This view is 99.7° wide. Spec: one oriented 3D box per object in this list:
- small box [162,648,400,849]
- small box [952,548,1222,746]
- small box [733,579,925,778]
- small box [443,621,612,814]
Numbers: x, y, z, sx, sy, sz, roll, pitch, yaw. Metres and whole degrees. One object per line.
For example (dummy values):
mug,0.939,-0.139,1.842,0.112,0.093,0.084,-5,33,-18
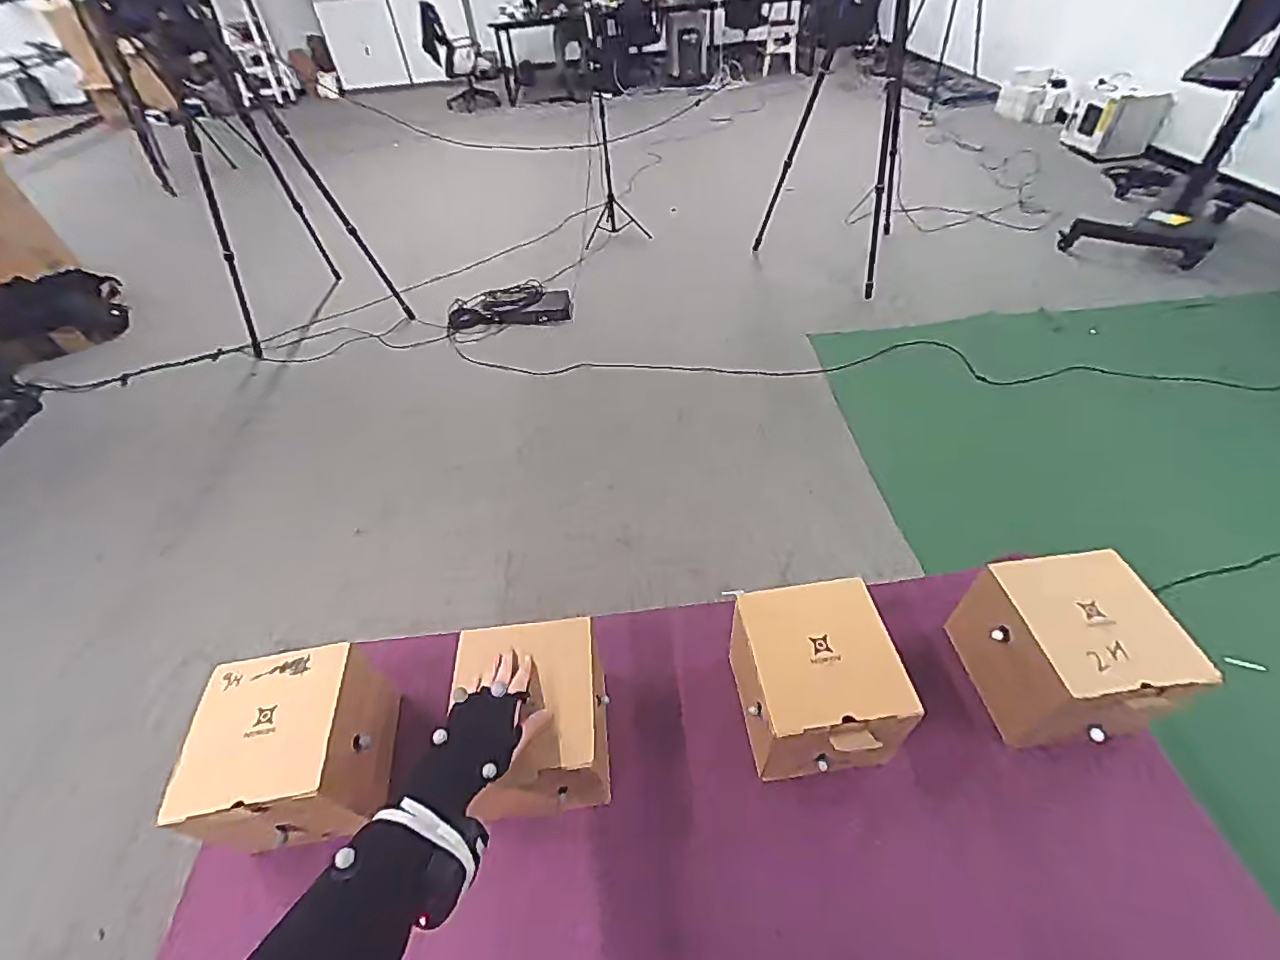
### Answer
small box,-0.418,0.337,0.671,0.168,0.176,0.179,-9,47,-4
small box,0.535,0.212,0.686,0.168,0.176,0.179,-7,47,1
small box,0.219,0.252,0.688,0.168,0.176,0.179,-8,47,-2
small box,-0.127,0.302,0.677,0.168,0.176,0.179,-6,46,-1
